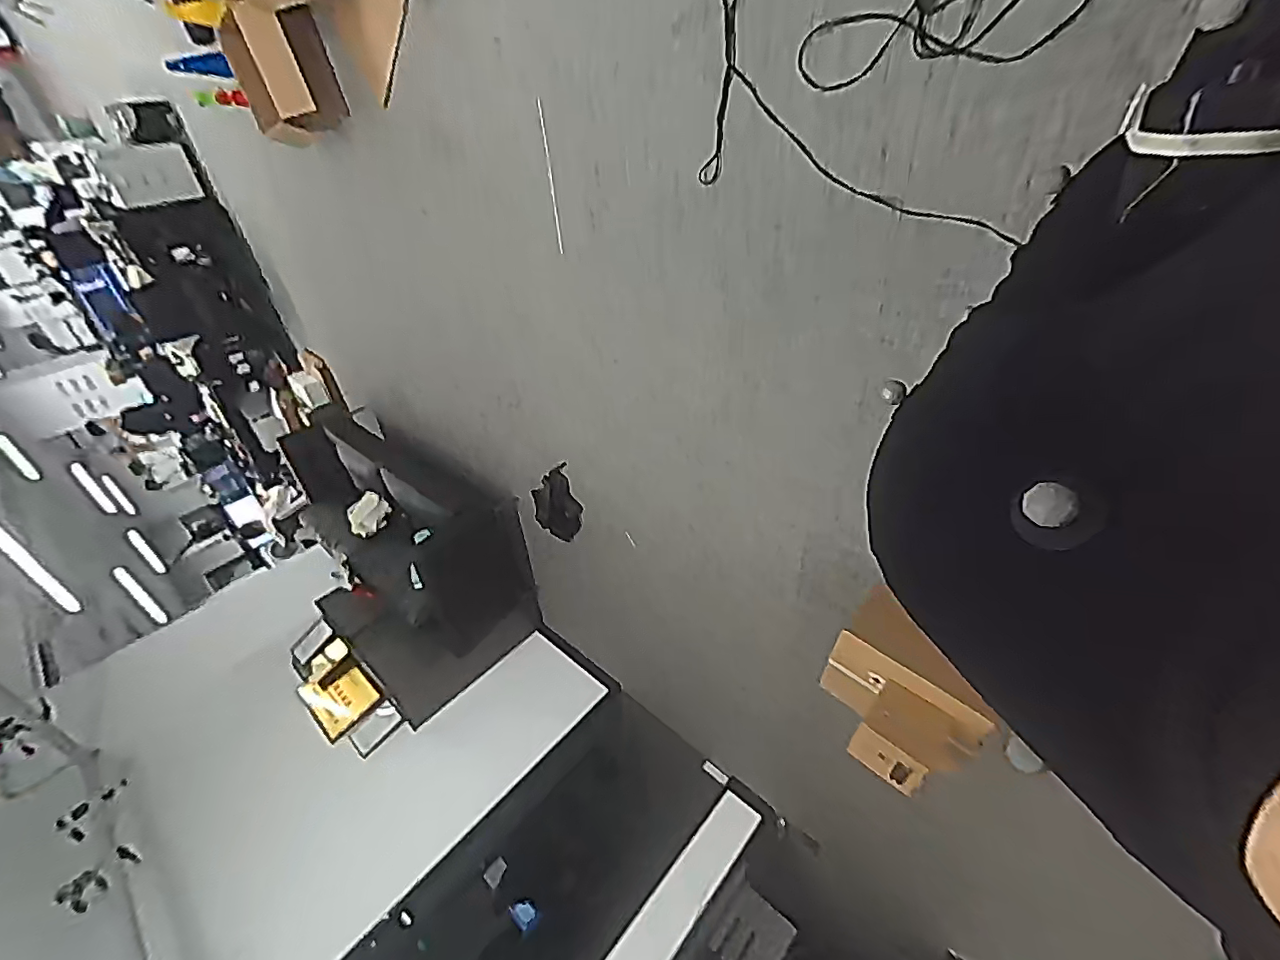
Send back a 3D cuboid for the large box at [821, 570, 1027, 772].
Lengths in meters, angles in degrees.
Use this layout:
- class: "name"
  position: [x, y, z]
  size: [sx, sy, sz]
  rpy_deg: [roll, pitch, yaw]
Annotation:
- class: "large box"
  position: [0.815, 0.543, 1.586]
  size: [0.408, 0.320, 0.320]
  rpy_deg: [32, 139, 31]
